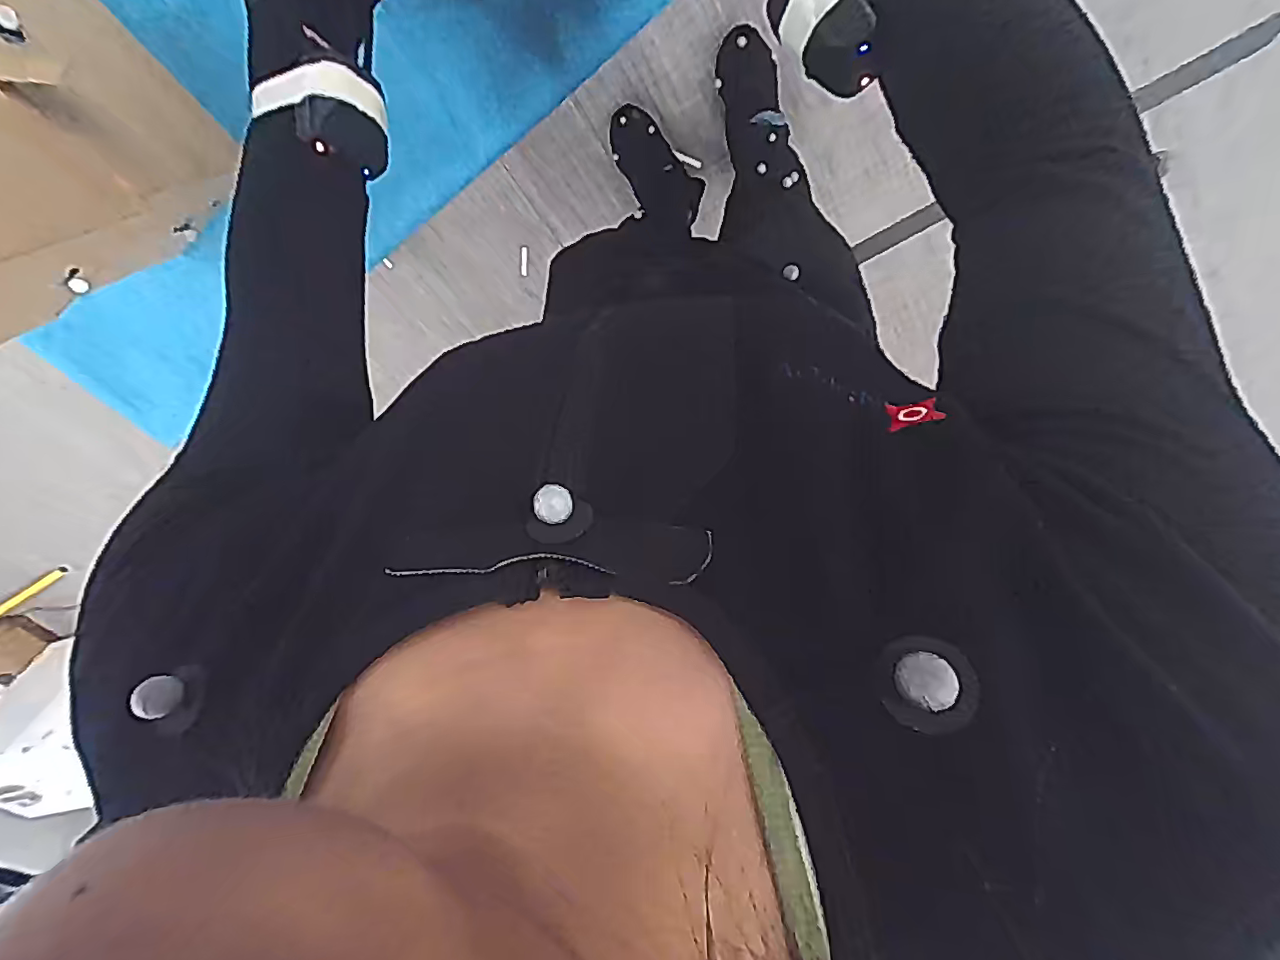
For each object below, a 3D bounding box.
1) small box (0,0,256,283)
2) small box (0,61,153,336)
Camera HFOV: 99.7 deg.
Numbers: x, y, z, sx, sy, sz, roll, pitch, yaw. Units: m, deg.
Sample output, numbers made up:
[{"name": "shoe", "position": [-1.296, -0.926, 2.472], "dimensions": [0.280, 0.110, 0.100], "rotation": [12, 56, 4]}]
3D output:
[{"name": "small box", "position": [-0.512, -0.303, 0.489], "dimensions": [0.168, 0.176, 0.179], "rotation": [-23, 127, 22]}, {"name": "small box", "position": [-0.510, -0.190, 0.365], "dimensions": [0.179, 0.176, 0.168], "rotation": [-26, 123, 22]}]
